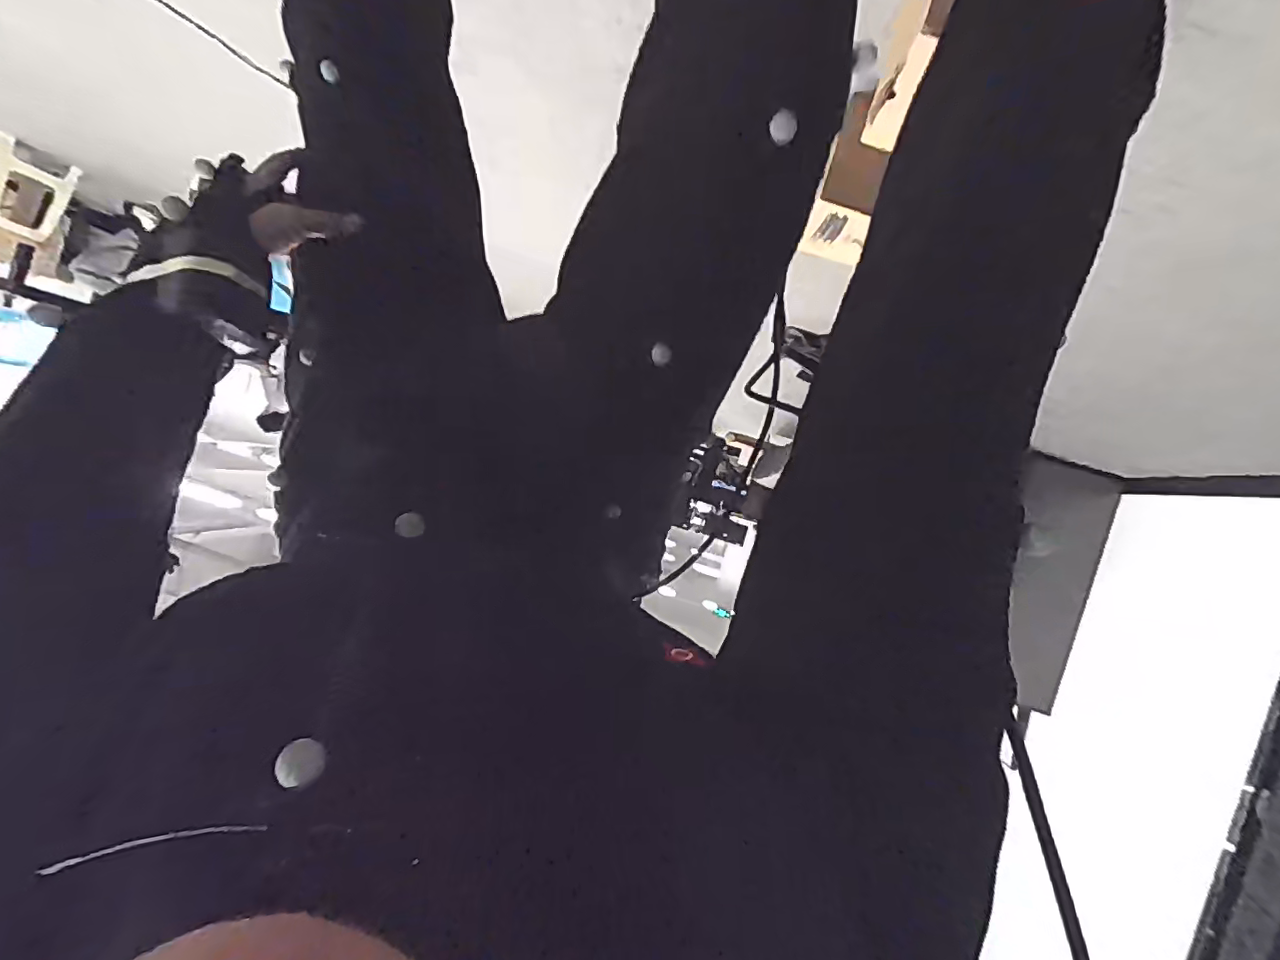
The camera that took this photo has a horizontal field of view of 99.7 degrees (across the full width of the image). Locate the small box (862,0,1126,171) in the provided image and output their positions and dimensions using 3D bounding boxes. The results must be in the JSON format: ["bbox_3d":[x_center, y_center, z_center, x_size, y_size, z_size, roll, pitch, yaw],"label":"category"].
[{"bbox_3d":[0.367,-0.467,0.562,0.179,0.176,0.168,18,-179,3],"label":"small box"}]
